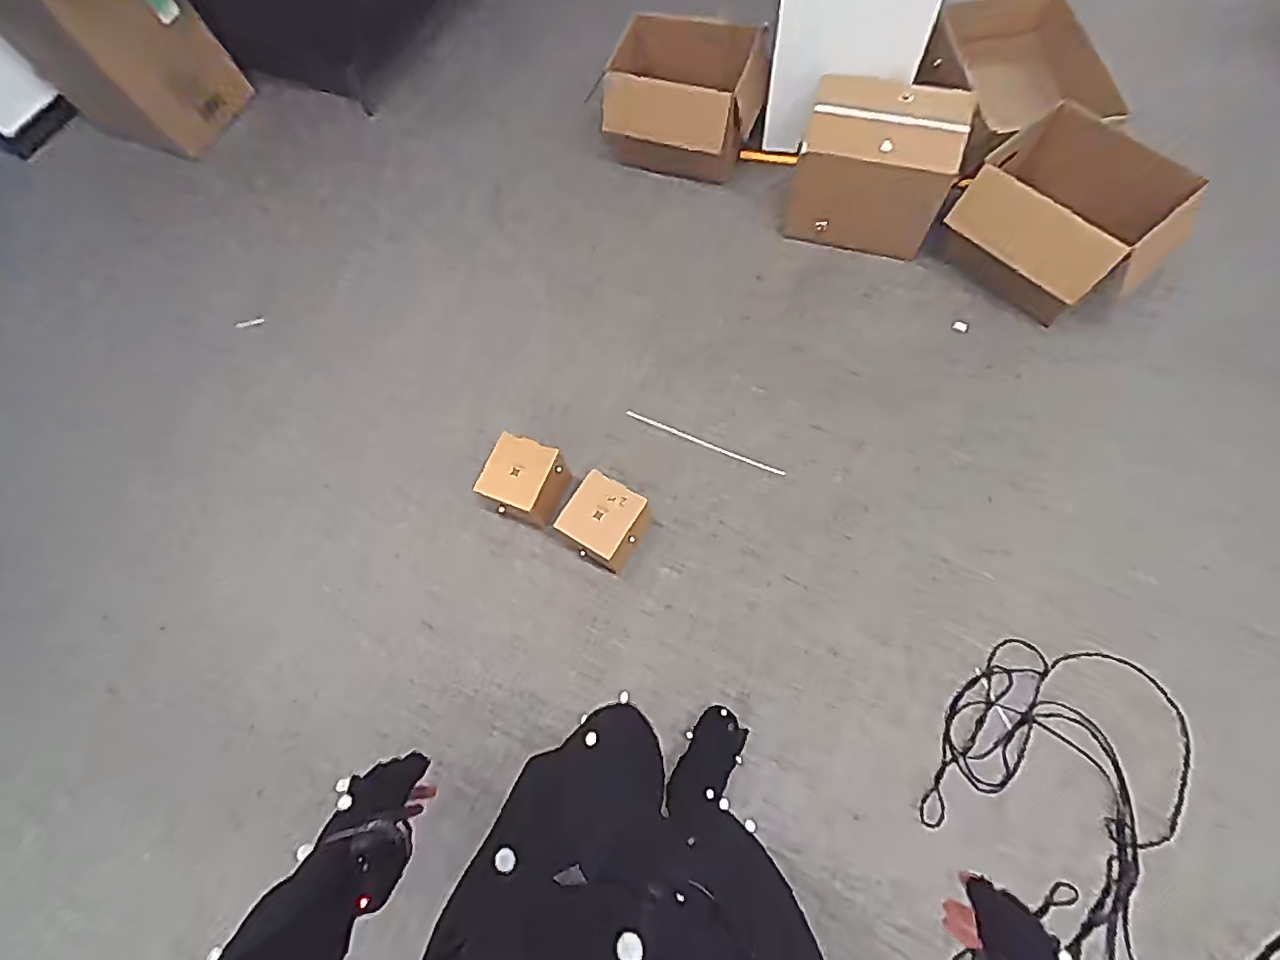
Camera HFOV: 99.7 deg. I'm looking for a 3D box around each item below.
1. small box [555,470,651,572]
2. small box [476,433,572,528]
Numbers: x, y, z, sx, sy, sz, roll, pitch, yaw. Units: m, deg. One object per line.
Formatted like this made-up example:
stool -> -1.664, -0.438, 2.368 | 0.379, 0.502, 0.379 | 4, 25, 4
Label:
small box -> -0.083, 0.111, 1.363 | 0.168, 0.176, 0.179 | 30, 75, 15
small box -> -0.296, 0.007, 1.426 | 0.168, 0.176, 0.179 | 19, 72, 13
